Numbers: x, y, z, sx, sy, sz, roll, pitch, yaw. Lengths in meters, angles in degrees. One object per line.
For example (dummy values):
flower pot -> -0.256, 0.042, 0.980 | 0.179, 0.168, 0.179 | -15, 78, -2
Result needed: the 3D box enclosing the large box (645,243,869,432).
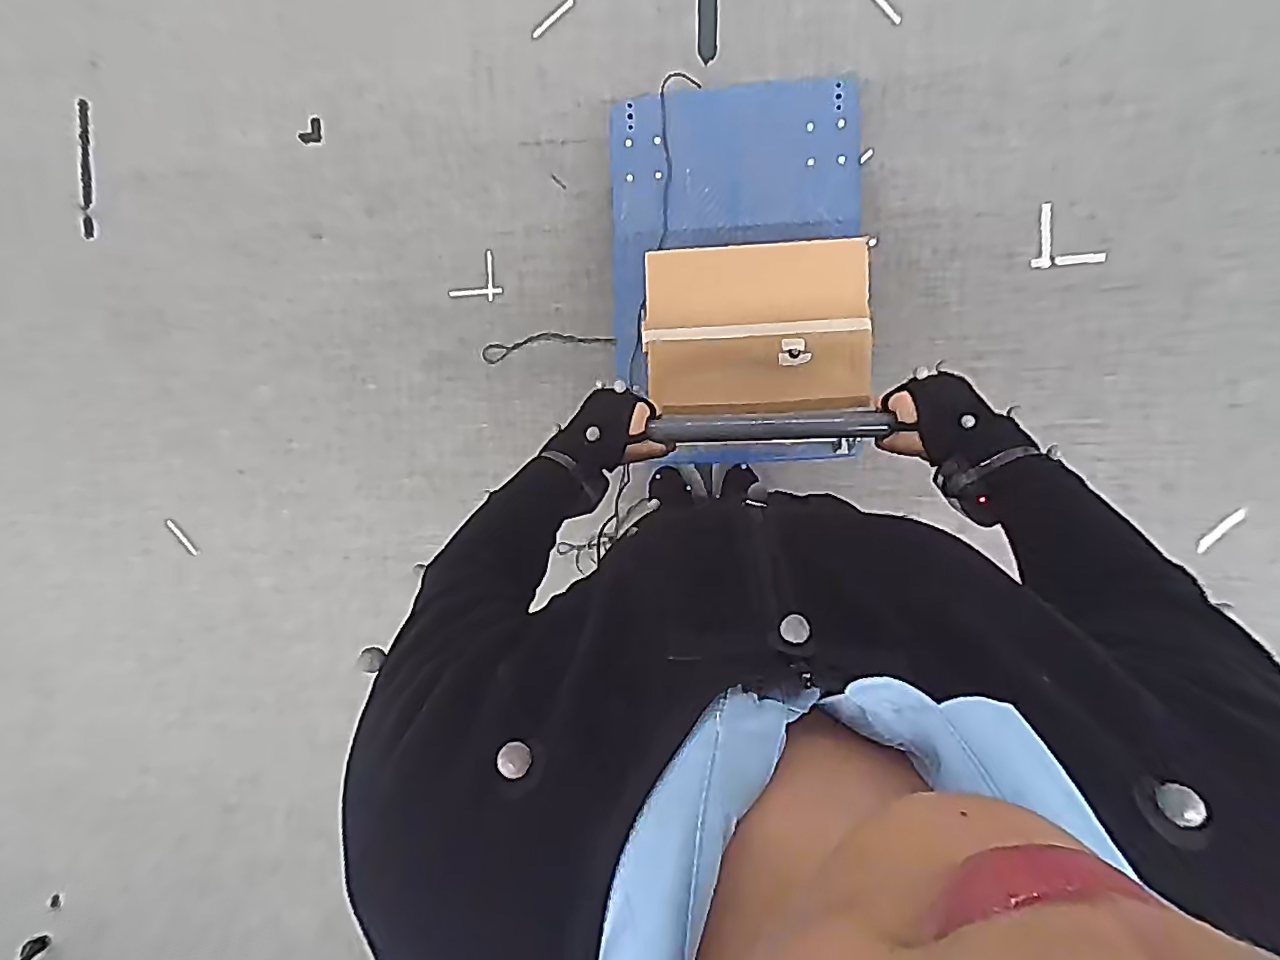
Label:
large box -> 0.225, -0.272, 1.143 | 0.408, 0.320, 0.320 | -2, 93, 5
